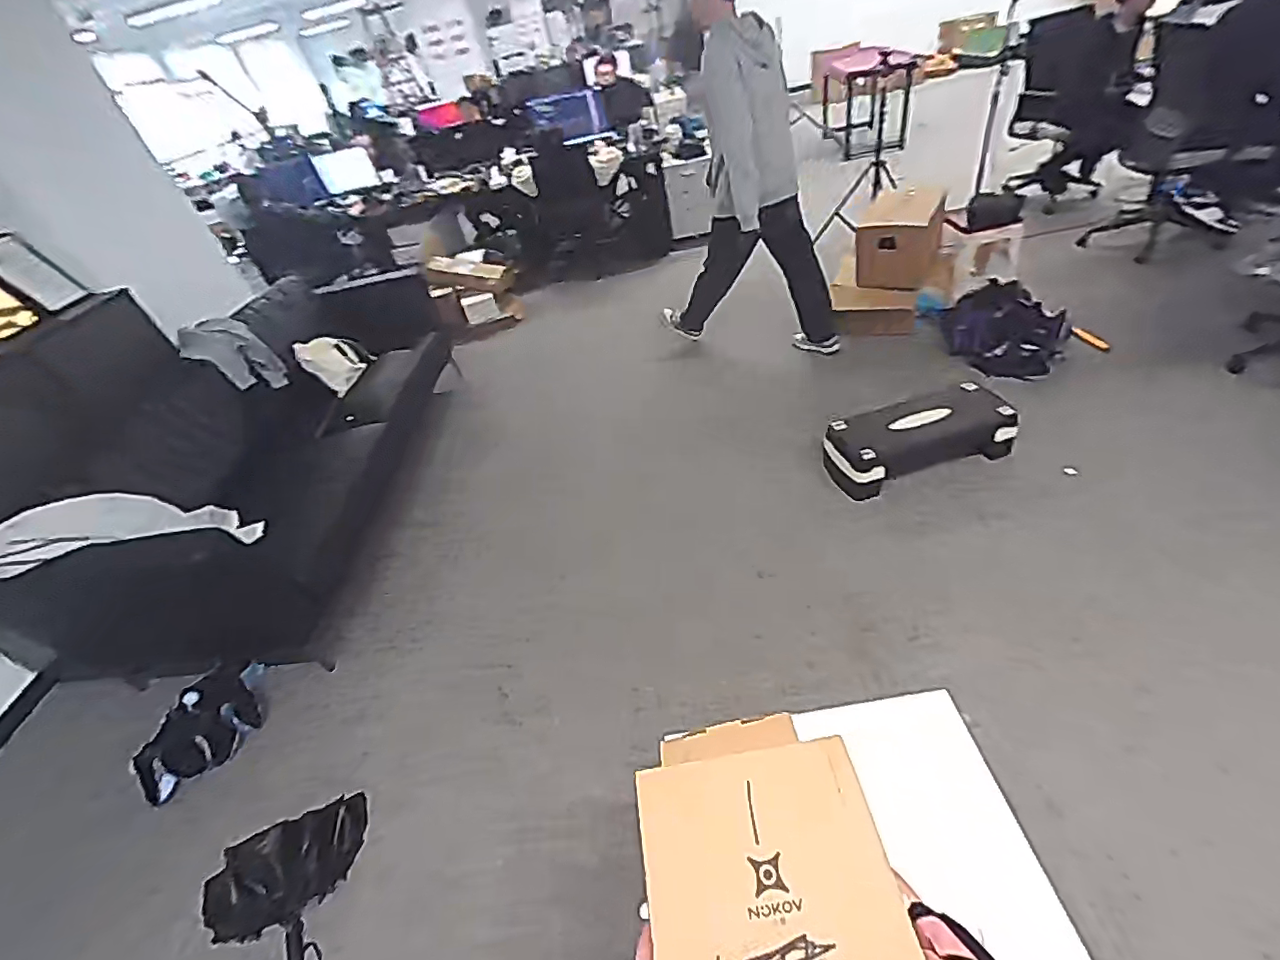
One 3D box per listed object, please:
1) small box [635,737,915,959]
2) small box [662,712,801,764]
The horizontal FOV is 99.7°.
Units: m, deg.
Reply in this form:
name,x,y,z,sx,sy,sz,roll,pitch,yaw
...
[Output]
name,x,y,z,sx,sy,sz,roll,pitch,yaw
small box,0.097,0.328,0.418,0.168,0.176,0.179,-11,45,2
small box,0.131,0.414,0.646,0.168,0.176,0.179,-15,40,2
